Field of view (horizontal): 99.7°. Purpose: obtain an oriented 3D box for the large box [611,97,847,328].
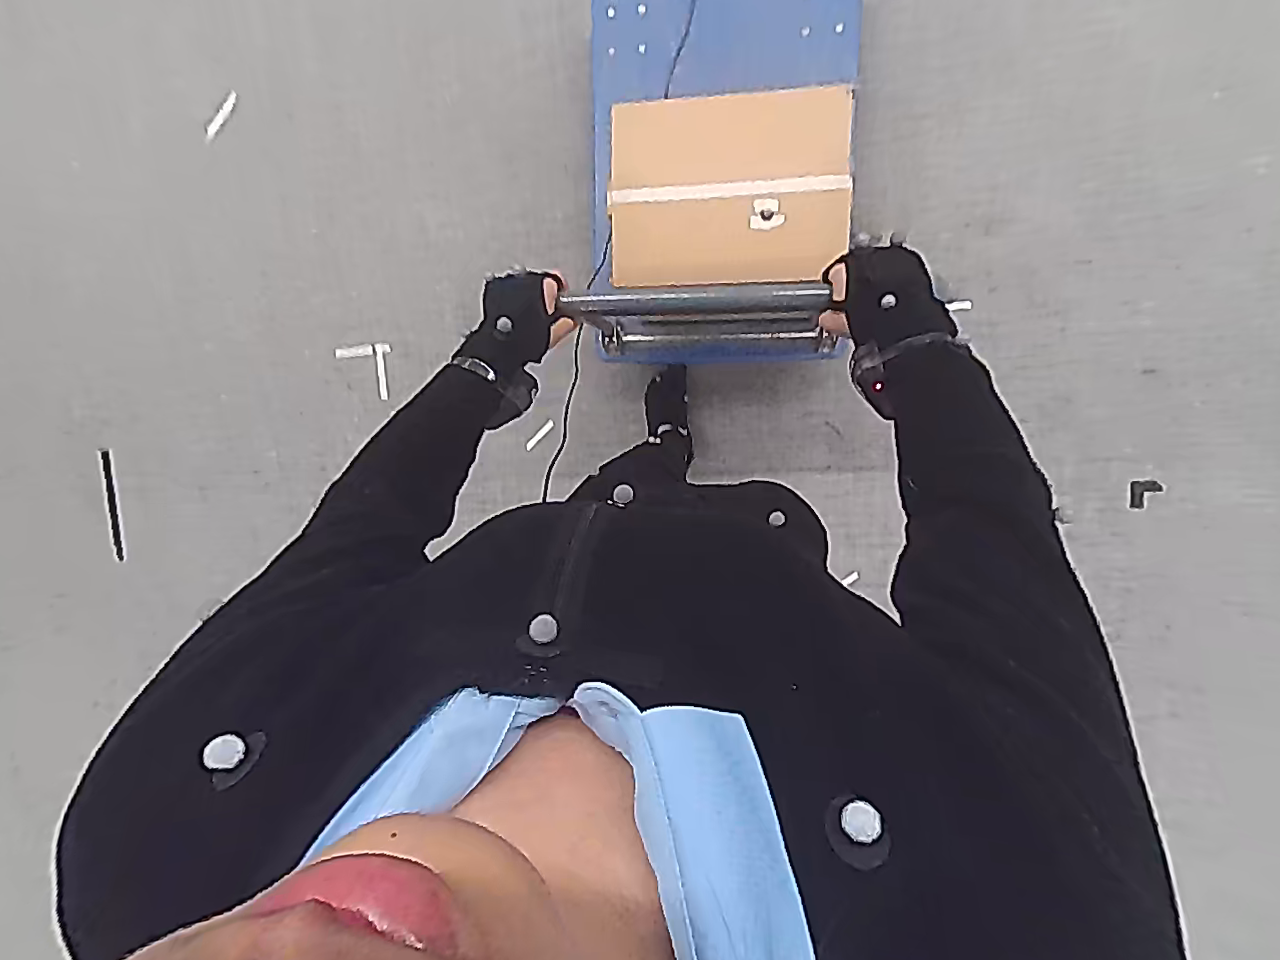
[{"bbox_3d":[0.164,-0.493,1.077,0.408,0.320,0.320,1,96,7],"label":"large box"}]
